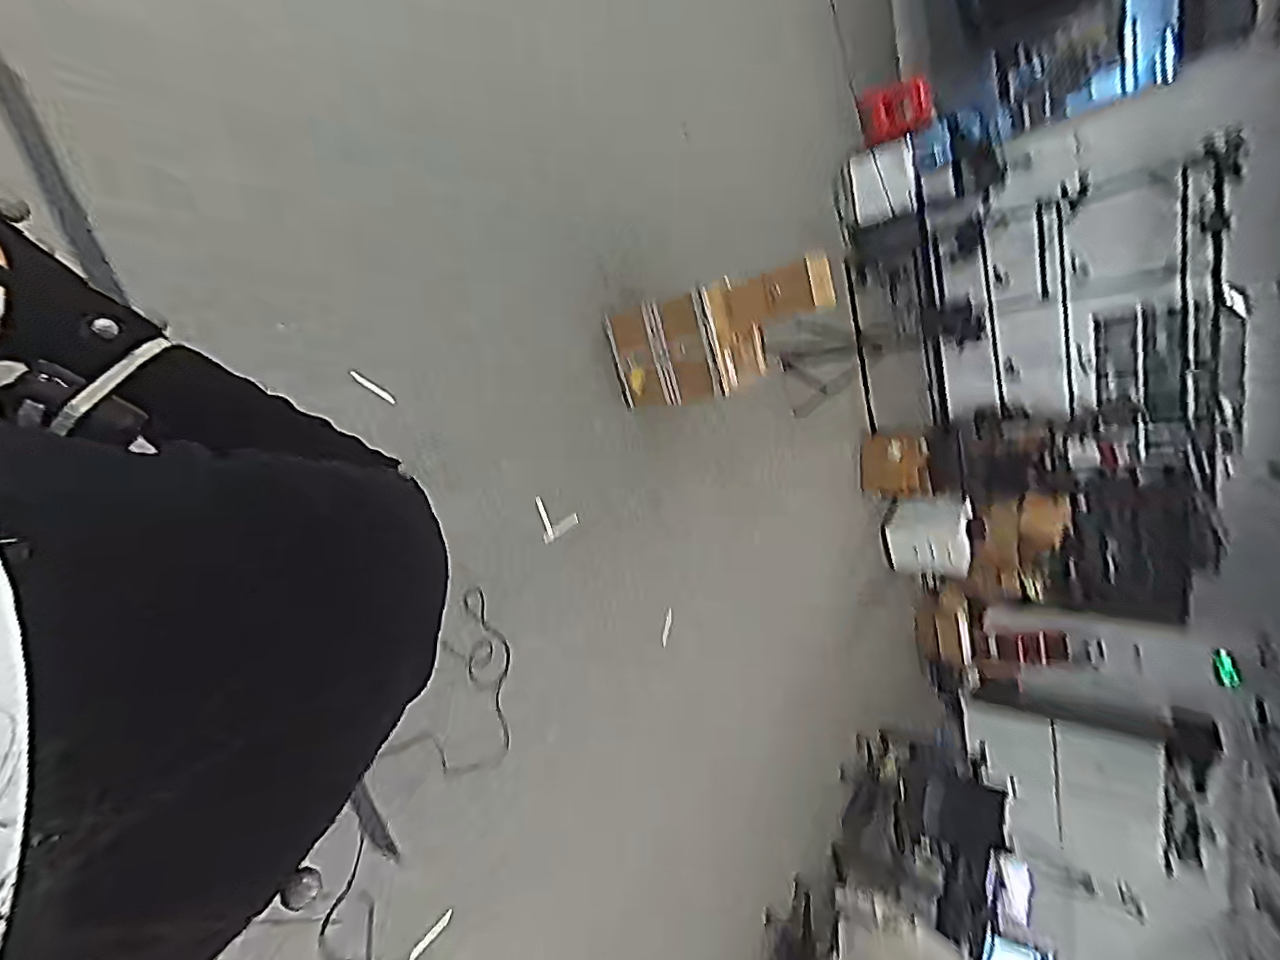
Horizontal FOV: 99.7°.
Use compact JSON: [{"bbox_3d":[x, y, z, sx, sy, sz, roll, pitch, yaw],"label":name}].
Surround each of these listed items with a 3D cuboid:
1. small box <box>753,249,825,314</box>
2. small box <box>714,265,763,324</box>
[{"bbox_3d":[0.515,-0.686,1.871,0.179,0.176,0.168,-31,109,-43],"label":"small box"},{"bbox_3d":[0.396,-0.683,1.981,0.179,0.176,0.168,-31,110,-43],"label":"small box"}]
